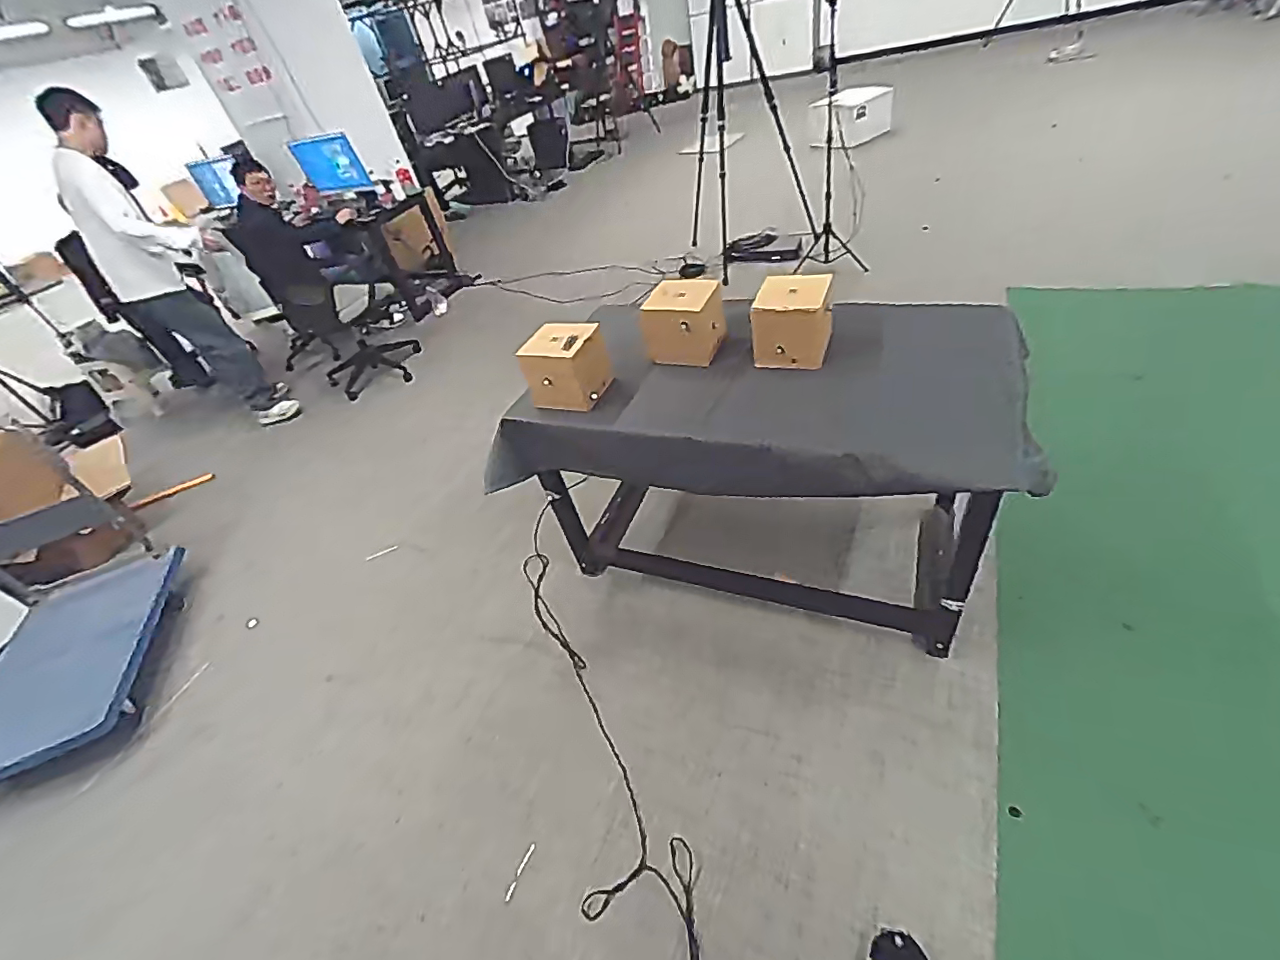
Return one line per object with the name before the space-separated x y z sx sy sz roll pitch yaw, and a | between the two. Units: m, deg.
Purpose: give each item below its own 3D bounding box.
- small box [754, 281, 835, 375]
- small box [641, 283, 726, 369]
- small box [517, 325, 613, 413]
small box | 0.395 -0.391 1.382 0.168 0.176 0.179 9 48 25
small box | 0.128 -0.422 1.490 0.179 0.176 0.168 10 48 26
small box | -0.191 -0.297 1.450 0.179 0.176 0.168 8 46 25
